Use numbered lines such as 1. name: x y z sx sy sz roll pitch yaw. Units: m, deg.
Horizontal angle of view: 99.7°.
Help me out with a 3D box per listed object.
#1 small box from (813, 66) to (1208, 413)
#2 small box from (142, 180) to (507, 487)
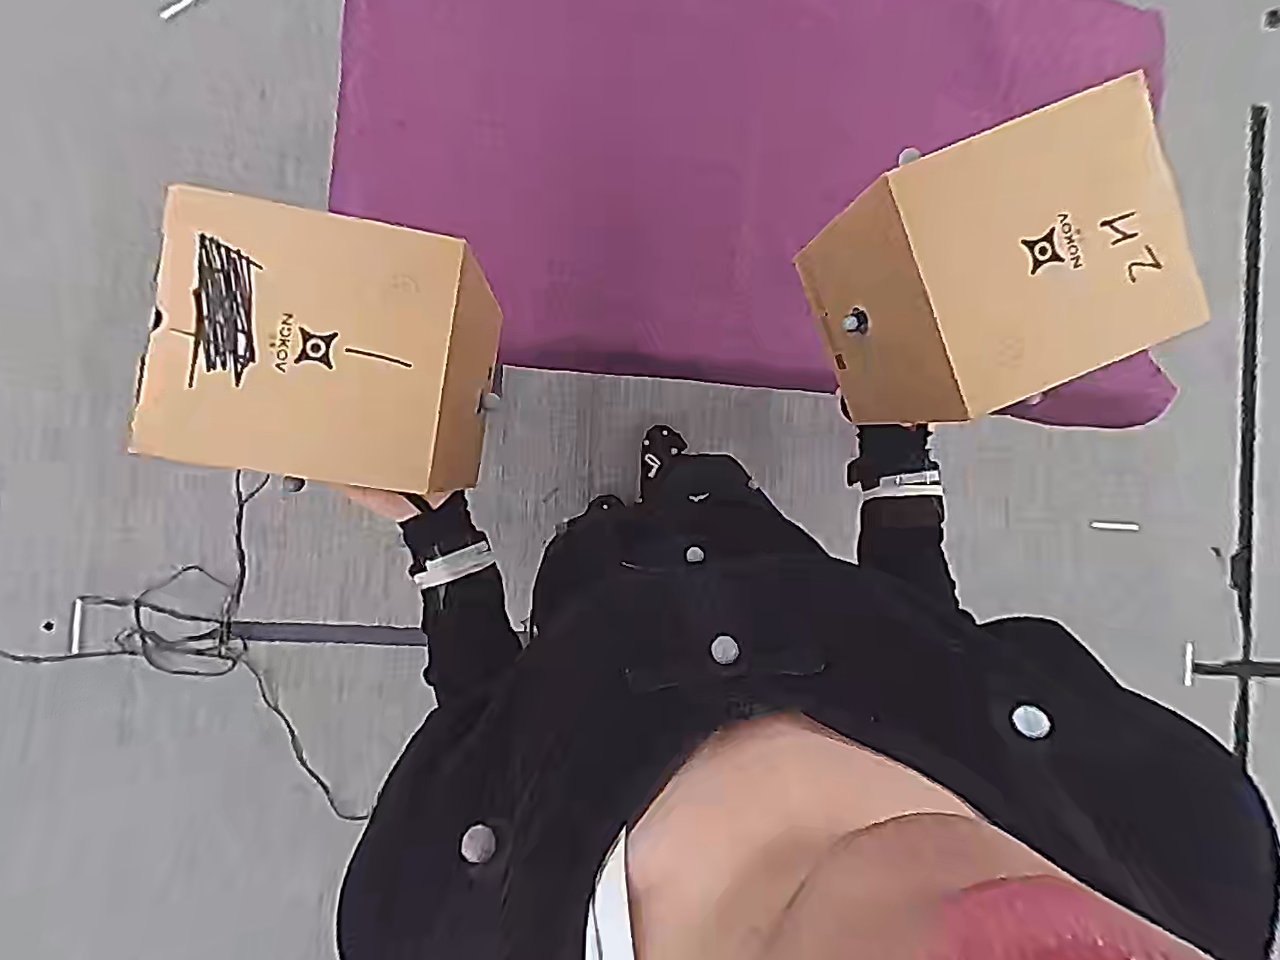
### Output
1. small box: 0.256 -0.158 0.421 0.179 0.176 0.168 -23 96 -2
2. small box: -0.209 -0.089 0.411 0.179 0.176 0.168 8 91 -7
